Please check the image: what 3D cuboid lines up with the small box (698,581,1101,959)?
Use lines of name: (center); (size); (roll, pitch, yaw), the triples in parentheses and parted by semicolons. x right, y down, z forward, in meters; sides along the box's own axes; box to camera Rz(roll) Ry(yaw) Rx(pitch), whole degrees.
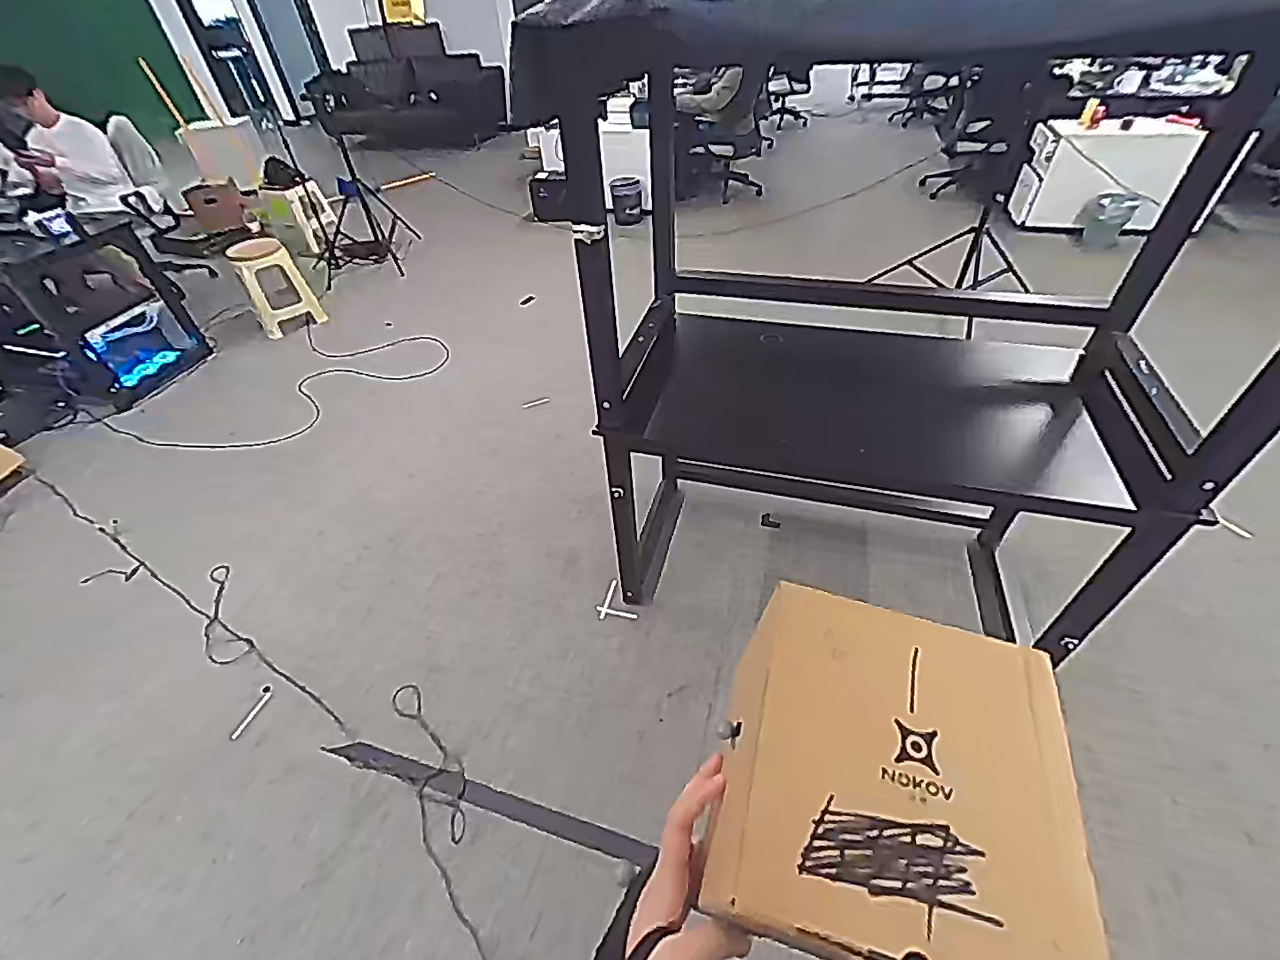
small box: (0.138, 0.199, 0.347); (0.168, 0.176, 0.179); (15, 51, 8)
